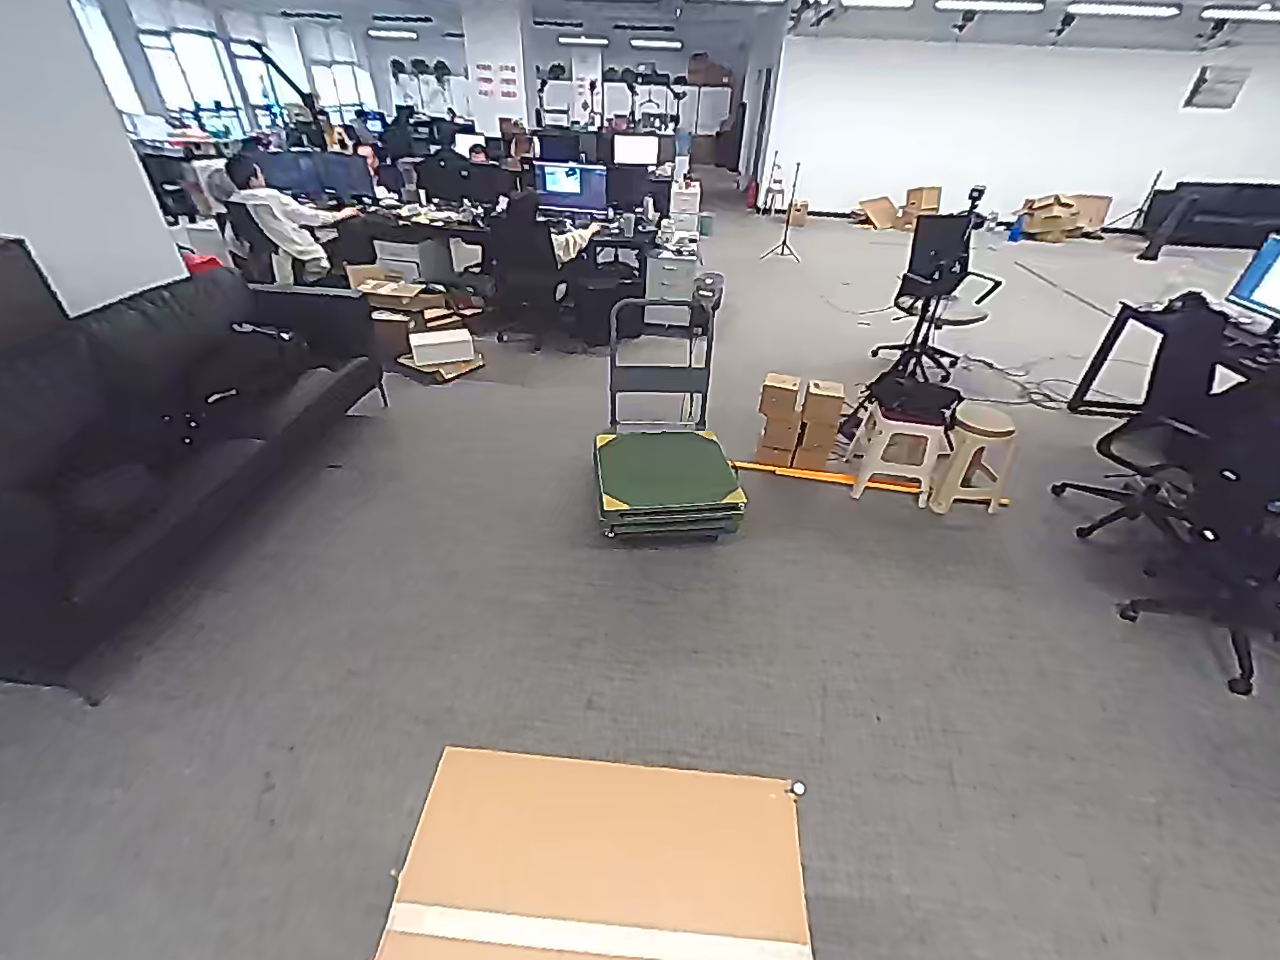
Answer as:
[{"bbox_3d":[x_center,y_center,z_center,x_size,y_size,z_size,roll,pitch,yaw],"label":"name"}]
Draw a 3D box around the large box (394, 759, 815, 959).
[{"bbox_3d":[-0.037,0.551,0.618,0.408,0.320,0.320,4,44,1],"label":"large box"}]
